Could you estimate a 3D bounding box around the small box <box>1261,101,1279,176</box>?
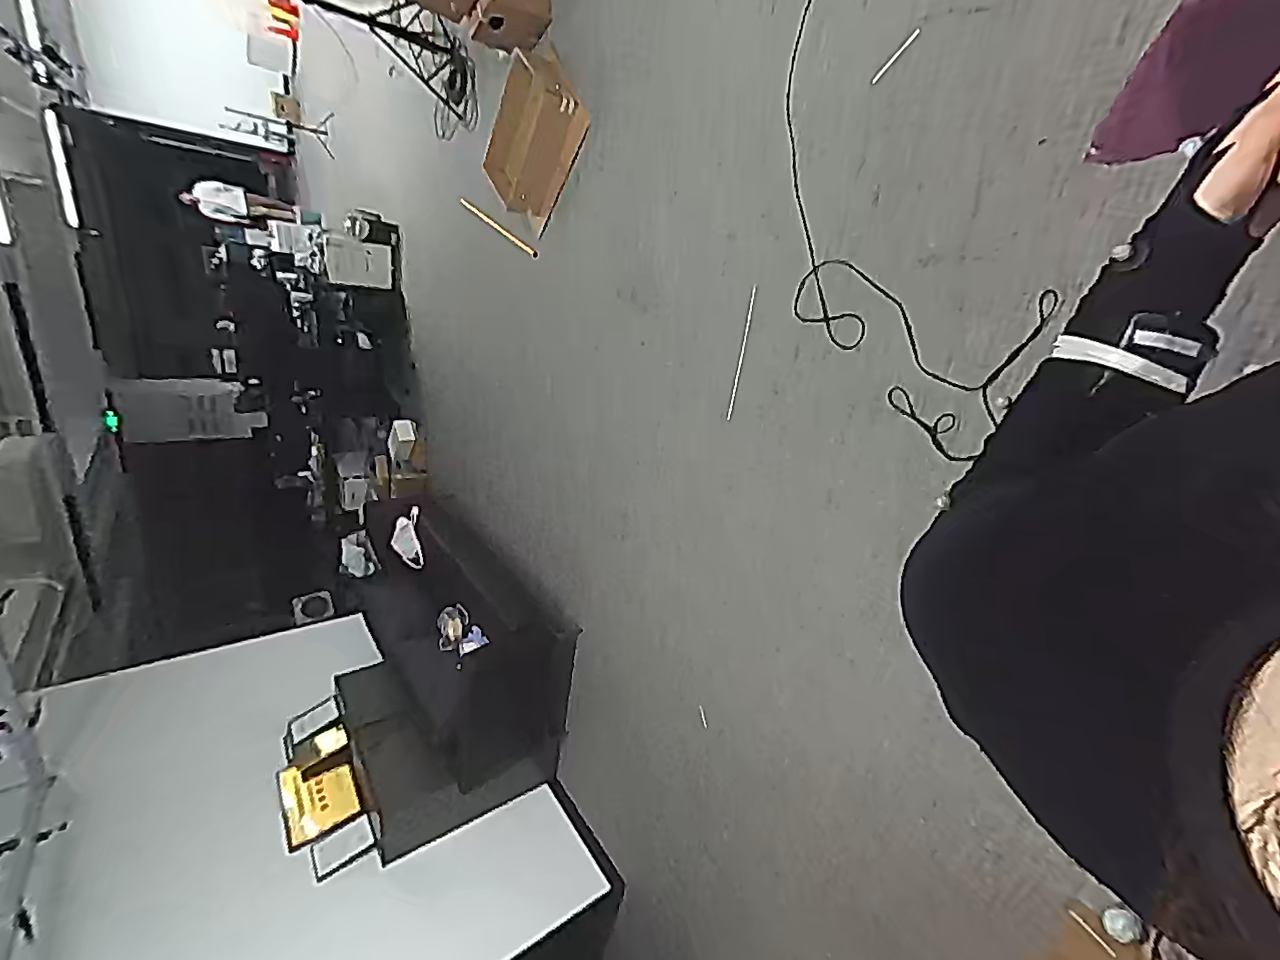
[{"bbox_3d":[0.417,-0.231,0.220,0.179,0.176,0.168,20,119,40],"label":"small box"}]
